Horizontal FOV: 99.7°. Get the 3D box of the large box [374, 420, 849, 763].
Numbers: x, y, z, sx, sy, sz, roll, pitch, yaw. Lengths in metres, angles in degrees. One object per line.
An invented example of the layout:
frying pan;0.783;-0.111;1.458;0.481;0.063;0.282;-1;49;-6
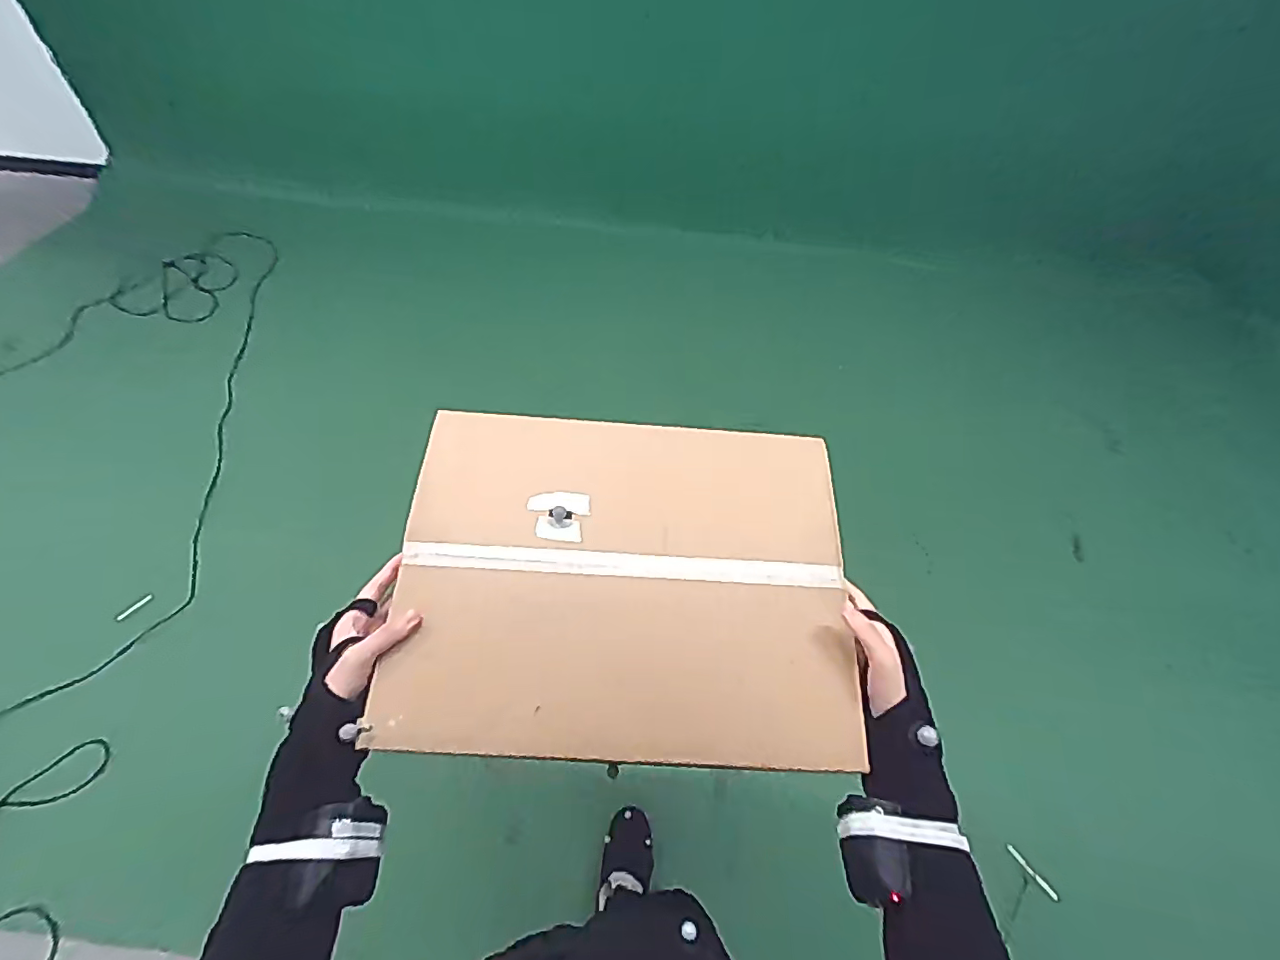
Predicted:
large box;-0.021;0.147;0.644;0.408;0.320;0.320;4;64;-1
